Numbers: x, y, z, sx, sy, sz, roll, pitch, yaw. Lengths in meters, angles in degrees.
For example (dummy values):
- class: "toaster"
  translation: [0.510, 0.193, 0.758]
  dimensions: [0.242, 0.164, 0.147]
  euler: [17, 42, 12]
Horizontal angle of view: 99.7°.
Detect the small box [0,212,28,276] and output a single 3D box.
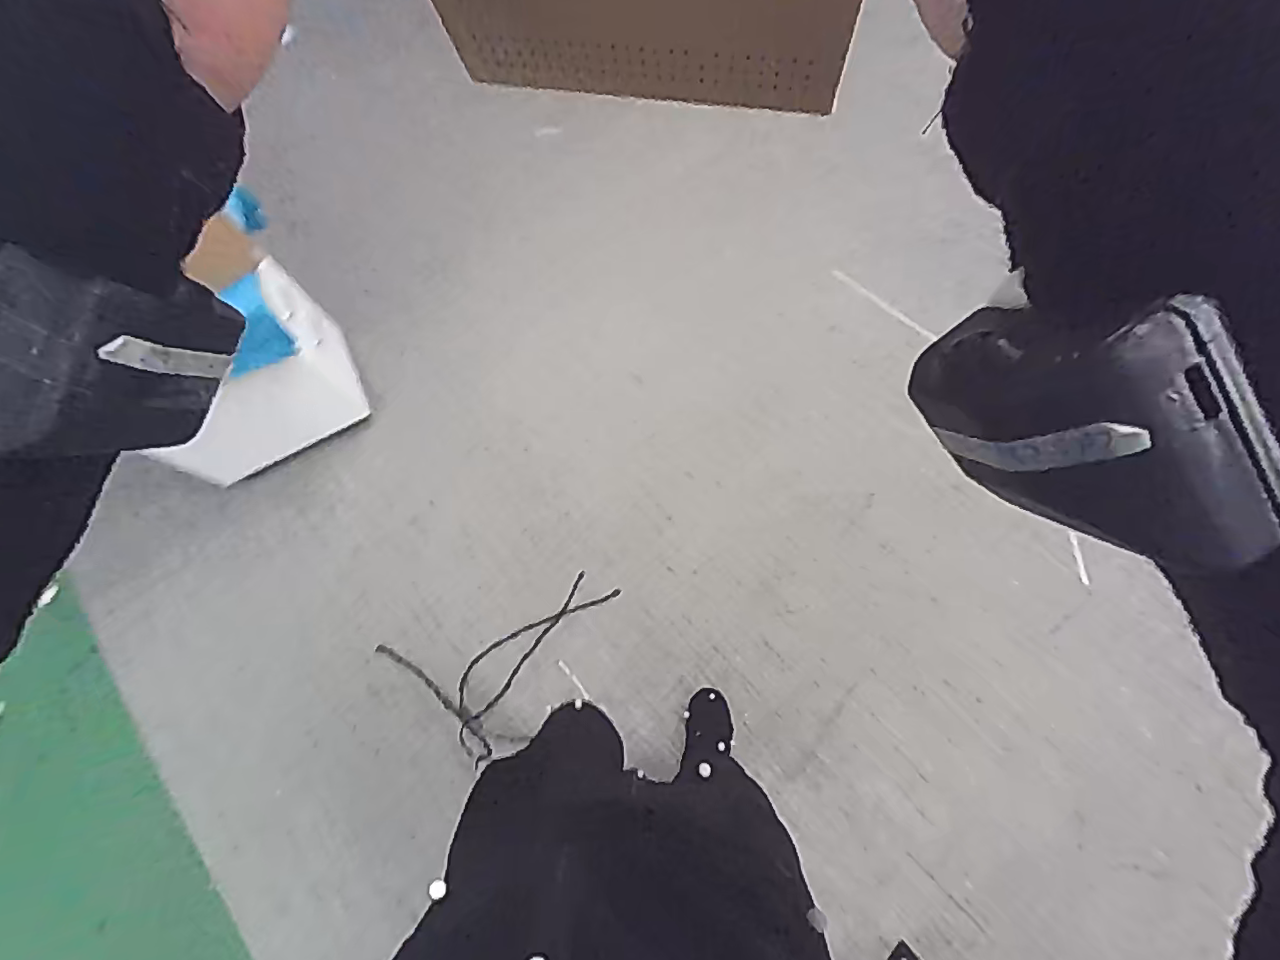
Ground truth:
- class: "small box"
  translation: [-1.331, -0.468, 1.010]
  dimensions: [0.179, 0.176, 0.168]
  euler: [-41, 69, -11]
